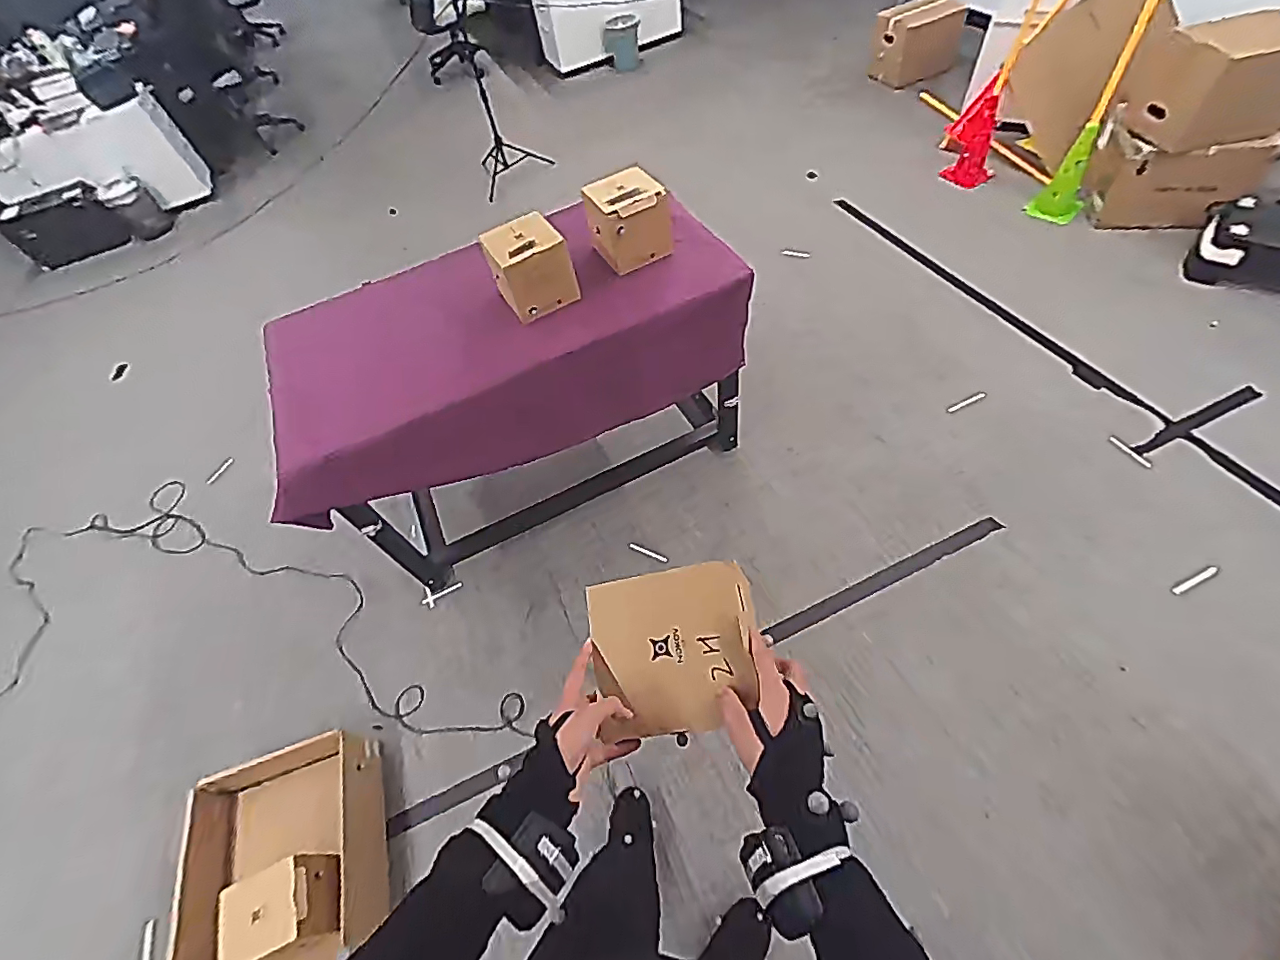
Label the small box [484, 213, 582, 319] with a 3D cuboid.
[{"bbox_3d":[-0.263,-0.533,1.366,0.168,0.176,0.179,-29,56,-11],"label":"small box"}]

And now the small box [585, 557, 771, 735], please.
[{"bbox_3d":[0.050,0.202,0.645,0.179,0.176,0.168,-13,67,11],"label":"small box"}]

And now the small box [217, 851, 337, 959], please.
[{"bbox_3d":[-0.827,0.987,1.249,0.179,0.176,0.168,-24,54,-7],"label":"small box"}]
